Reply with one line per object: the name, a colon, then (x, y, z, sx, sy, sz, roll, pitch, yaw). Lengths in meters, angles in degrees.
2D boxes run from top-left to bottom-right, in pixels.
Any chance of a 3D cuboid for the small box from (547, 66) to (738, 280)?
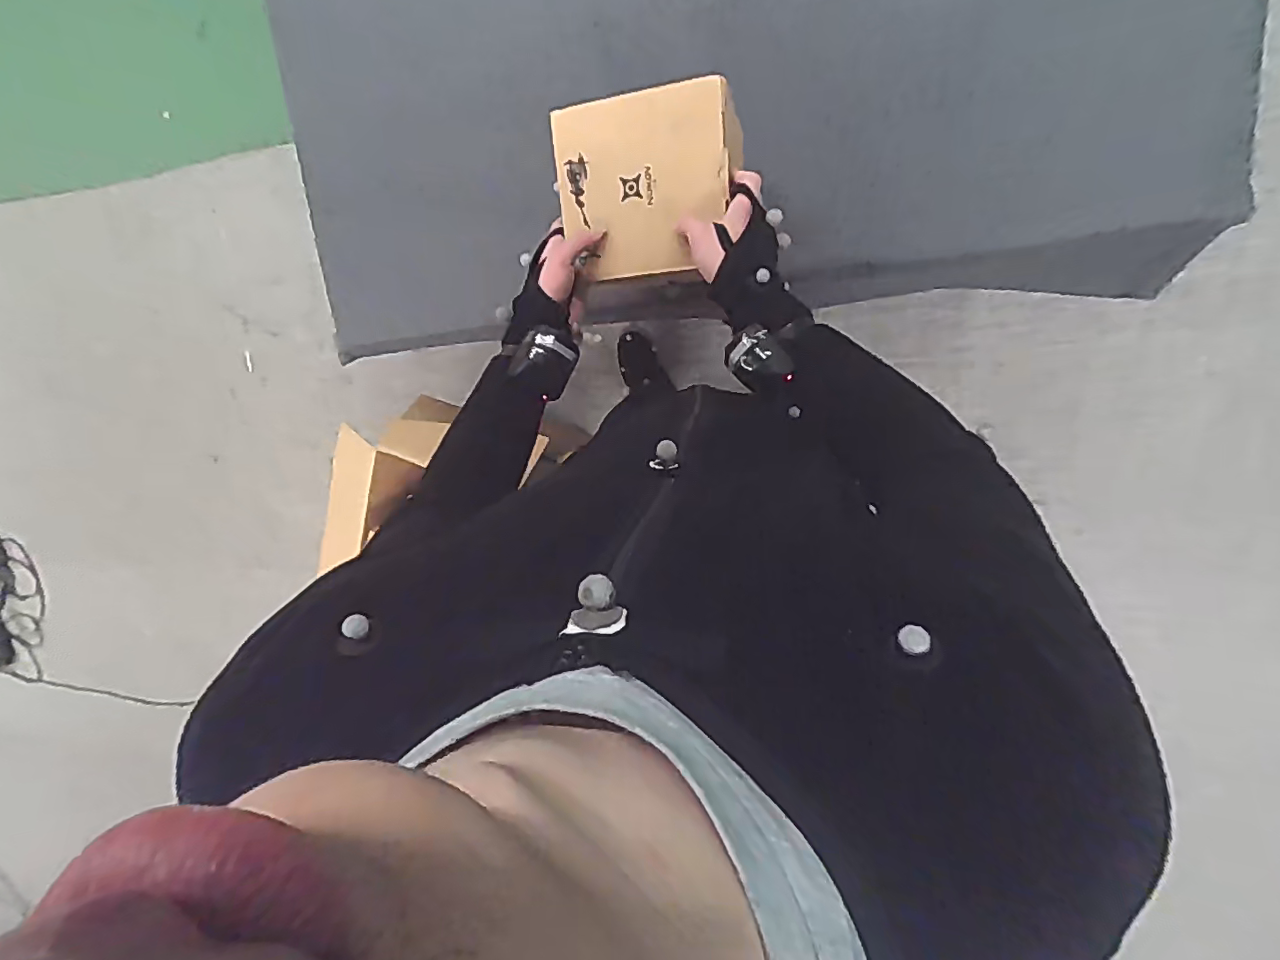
small box: (0.017, -0.320, 0.602, 0.179, 0.176, 0.168, 0, 107, 15)
